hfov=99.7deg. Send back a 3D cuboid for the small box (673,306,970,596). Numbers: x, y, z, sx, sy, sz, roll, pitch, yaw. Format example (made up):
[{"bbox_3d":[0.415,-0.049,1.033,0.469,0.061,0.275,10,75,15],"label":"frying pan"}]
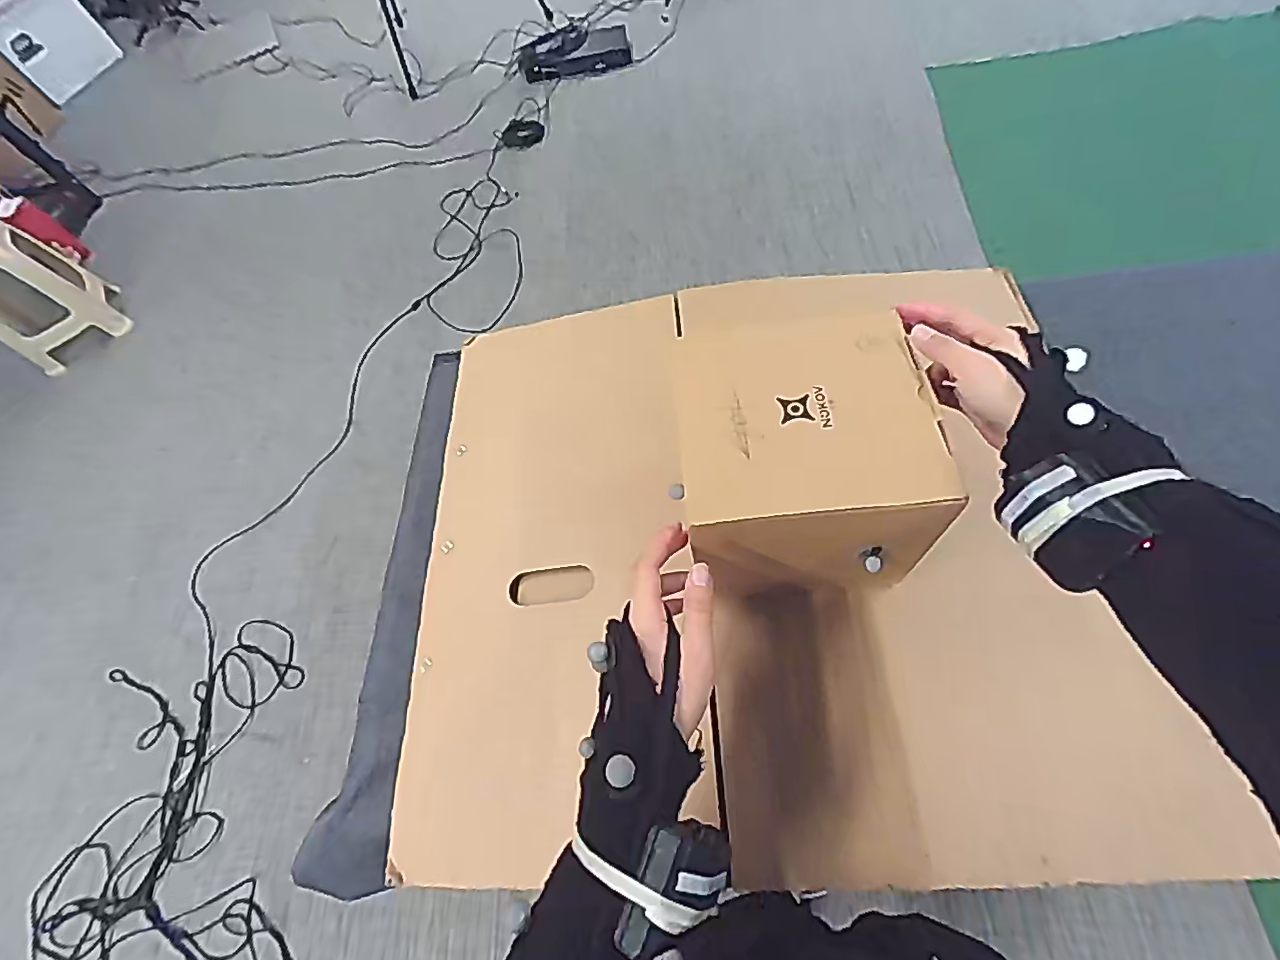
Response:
[{"bbox_3d":[0.126,-0.012,0.447,0.179,0.176,0.168,-7,60,6],"label":"small box"}]
